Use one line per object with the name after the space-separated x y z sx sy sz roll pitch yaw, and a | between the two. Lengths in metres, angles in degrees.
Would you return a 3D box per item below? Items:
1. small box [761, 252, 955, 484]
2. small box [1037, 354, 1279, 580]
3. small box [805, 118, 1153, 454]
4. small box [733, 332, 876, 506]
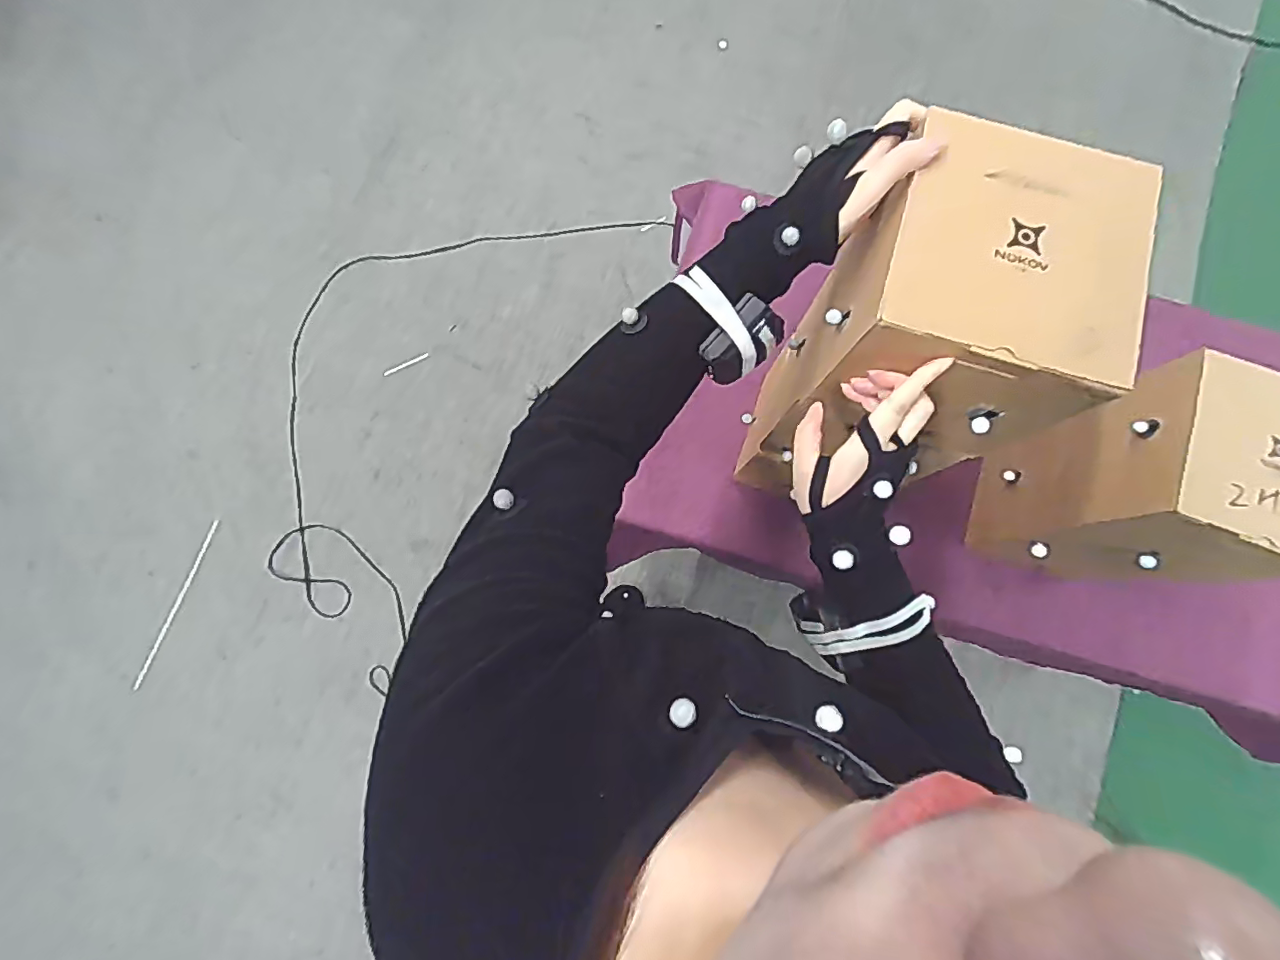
0.247 -0.109 0.602 0.168 0.176 0.179 20 79 3 | small box
0.580 -0.002 0.587 0.168 0.176 0.179 22 80 3 | small box
0.250 -0.136 0.441 0.168 0.176 0.179 18 79 2 | small box
0.240 -0.073 0.763 0.168 0.176 0.179 19 80 2 | small box
